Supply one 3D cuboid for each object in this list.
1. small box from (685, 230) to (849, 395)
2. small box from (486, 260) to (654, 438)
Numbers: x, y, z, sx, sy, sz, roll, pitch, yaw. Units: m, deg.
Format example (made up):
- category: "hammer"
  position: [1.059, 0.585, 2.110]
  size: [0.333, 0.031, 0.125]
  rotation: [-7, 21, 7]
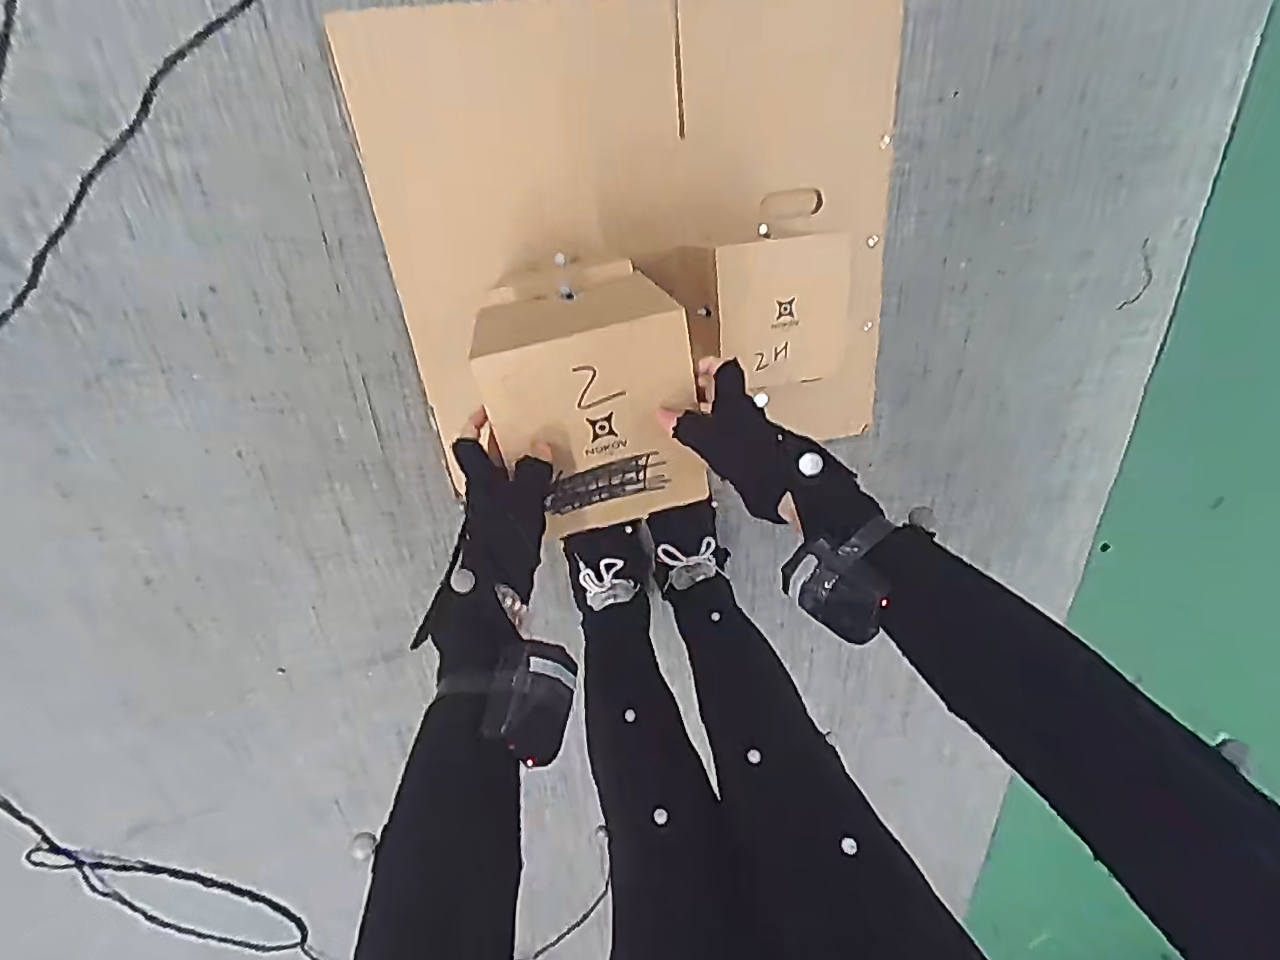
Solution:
- category: "small box"
  position: [0.160, -0.229, 0.724]
  size: [0.168, 0.176, 0.179]
  rotation: [-9, 115, -4]
- category: "small box"
  position: [-0.086, -0.177, 0.701]
  size: [0.168, 0.176, 0.179]
  rotation: [-14, 115, -3]
